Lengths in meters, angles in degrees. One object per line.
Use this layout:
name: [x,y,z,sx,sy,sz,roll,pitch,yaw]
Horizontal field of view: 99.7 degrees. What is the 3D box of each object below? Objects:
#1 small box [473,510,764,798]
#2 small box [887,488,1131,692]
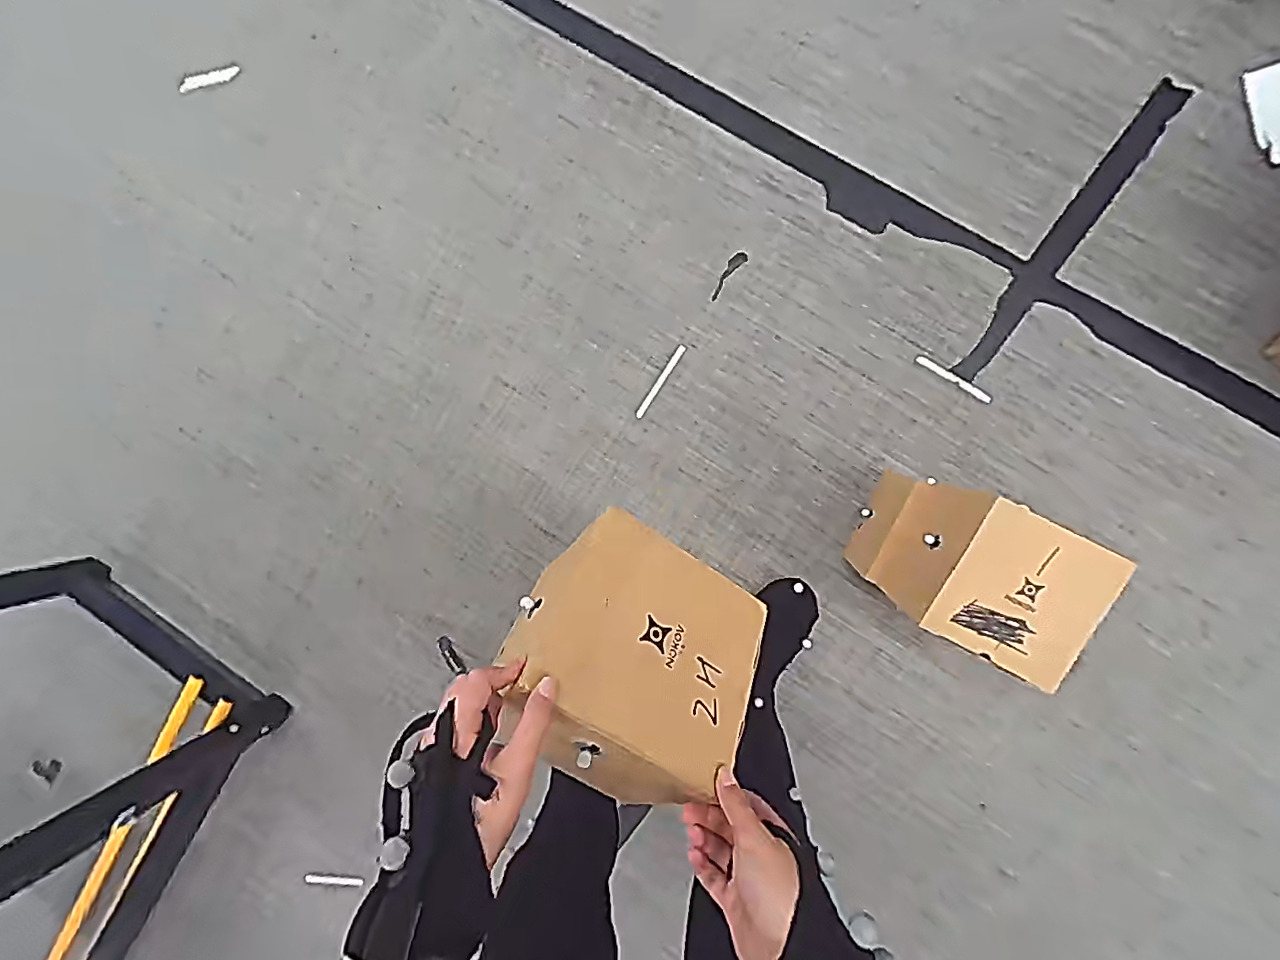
small box: [-0.023,0.163,0.483,0.179,0.168,0.176,34,141,-11]
small box: [0.444,0.125,0.691,0.168,0.176,0.179,28,97,5]
